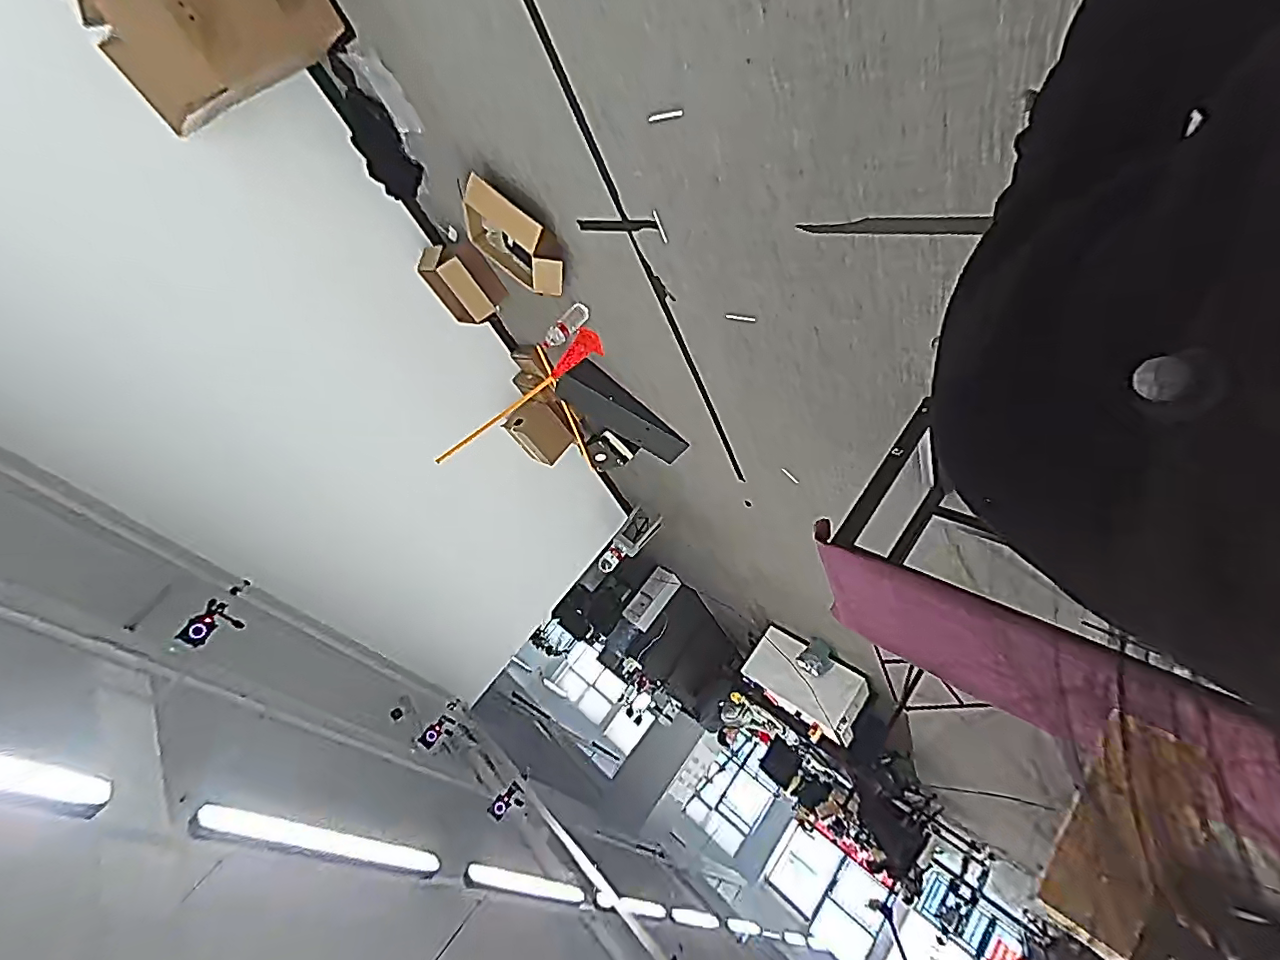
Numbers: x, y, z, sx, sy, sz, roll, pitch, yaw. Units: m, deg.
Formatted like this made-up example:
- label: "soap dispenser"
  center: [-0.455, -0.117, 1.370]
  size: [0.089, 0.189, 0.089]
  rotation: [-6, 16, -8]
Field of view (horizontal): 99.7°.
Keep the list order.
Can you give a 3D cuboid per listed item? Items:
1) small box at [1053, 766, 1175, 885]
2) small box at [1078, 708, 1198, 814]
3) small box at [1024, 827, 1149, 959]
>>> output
- label: "small box"
  center: [1.115, 0.814, 1.276]
  size: [0.168, 0.176, 0.179]
  rotation: [24, 157, 41]
- label: "small box"
  center: [1.213, 0.690, 1.321]
  size: [0.168, 0.176, 0.179]
  rotation: [24, 157, 40]
- label: "small box"
  center: [1.010, 0.932, 1.229]
  size: [0.168, 0.176, 0.179]
  rotation: [25, 157, 40]
